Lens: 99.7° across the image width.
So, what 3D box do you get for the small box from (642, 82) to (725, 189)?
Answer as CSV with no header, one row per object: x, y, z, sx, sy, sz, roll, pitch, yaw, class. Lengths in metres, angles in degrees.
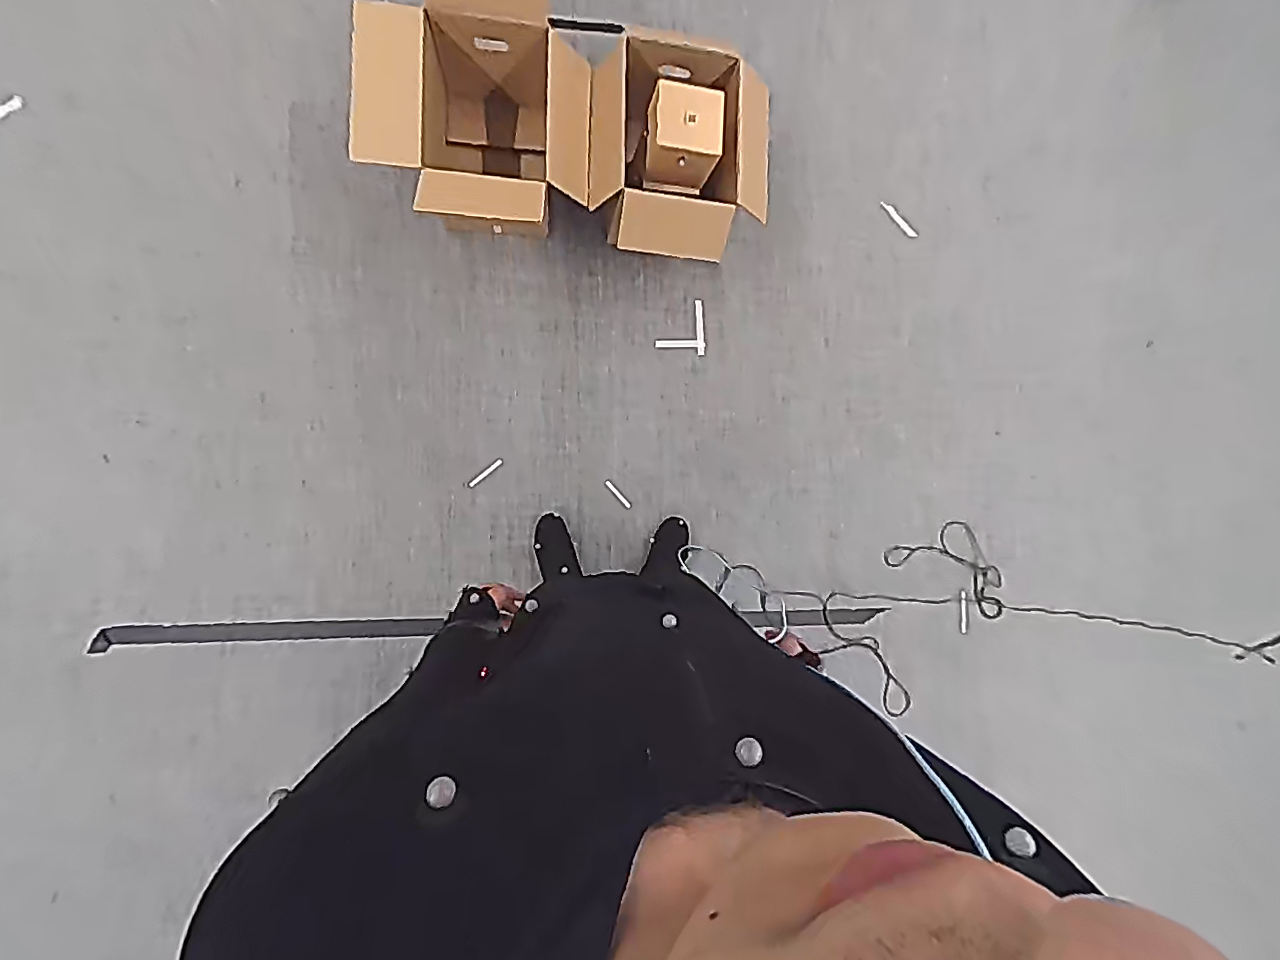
0.110,-0.899,1.430,0.179,0.176,0.168,2,90,-11,small box
